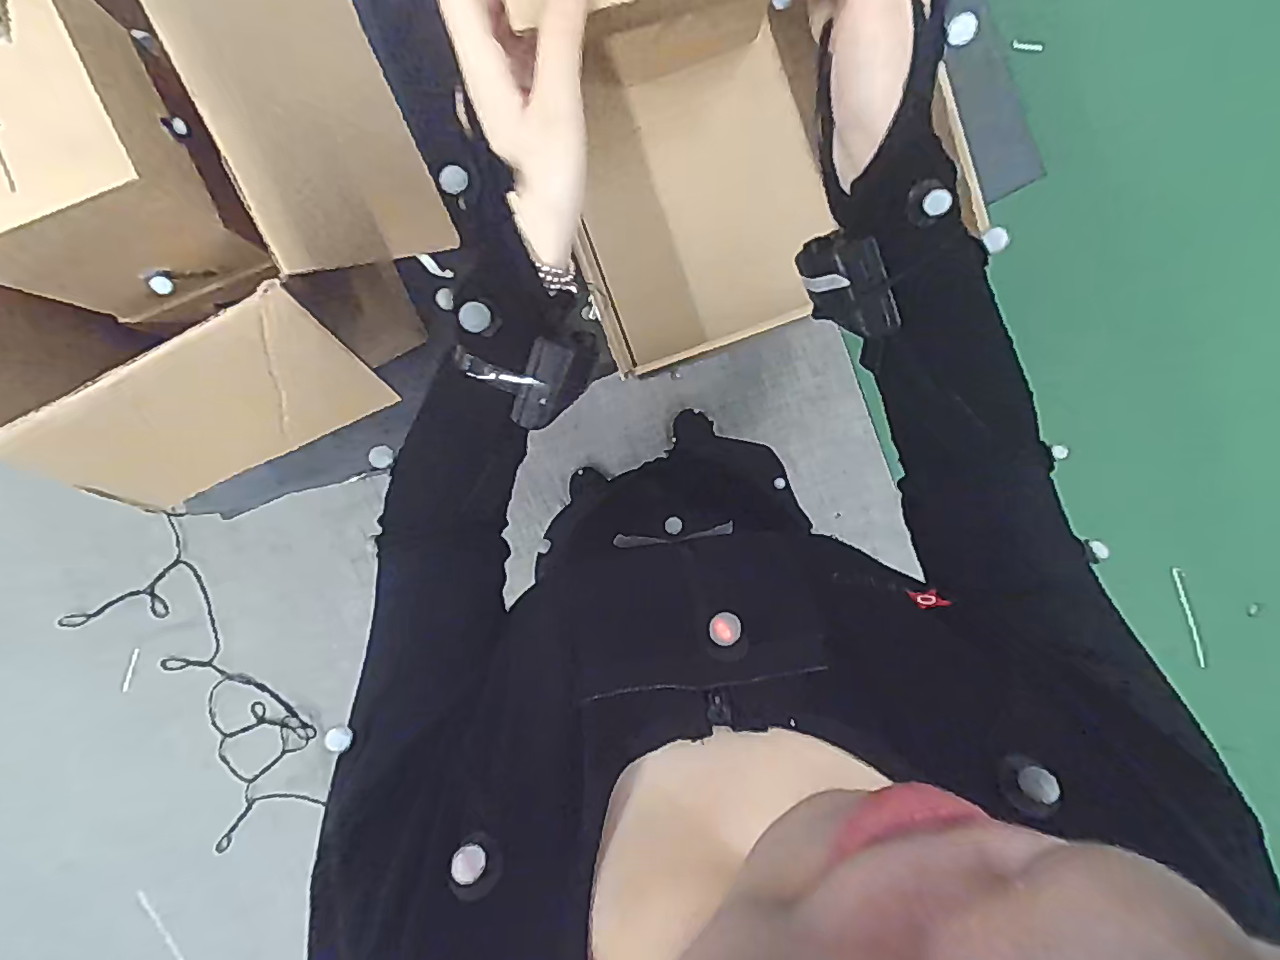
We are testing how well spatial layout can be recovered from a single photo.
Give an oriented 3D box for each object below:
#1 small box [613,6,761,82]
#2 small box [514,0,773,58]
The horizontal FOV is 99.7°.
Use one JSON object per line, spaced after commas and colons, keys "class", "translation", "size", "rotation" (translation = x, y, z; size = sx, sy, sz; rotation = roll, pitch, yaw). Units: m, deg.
{"class": "small box", "translation": [0.034, -0.571, 0.568], "size": [0.179, 0.176, 0.168], "rotation": [-19, 97, 4]}
{"class": "small box", "translation": [0.007, -0.337, 0.272], "size": [0.179, 0.176, 0.168], "rotation": [-13, 125, 3]}
